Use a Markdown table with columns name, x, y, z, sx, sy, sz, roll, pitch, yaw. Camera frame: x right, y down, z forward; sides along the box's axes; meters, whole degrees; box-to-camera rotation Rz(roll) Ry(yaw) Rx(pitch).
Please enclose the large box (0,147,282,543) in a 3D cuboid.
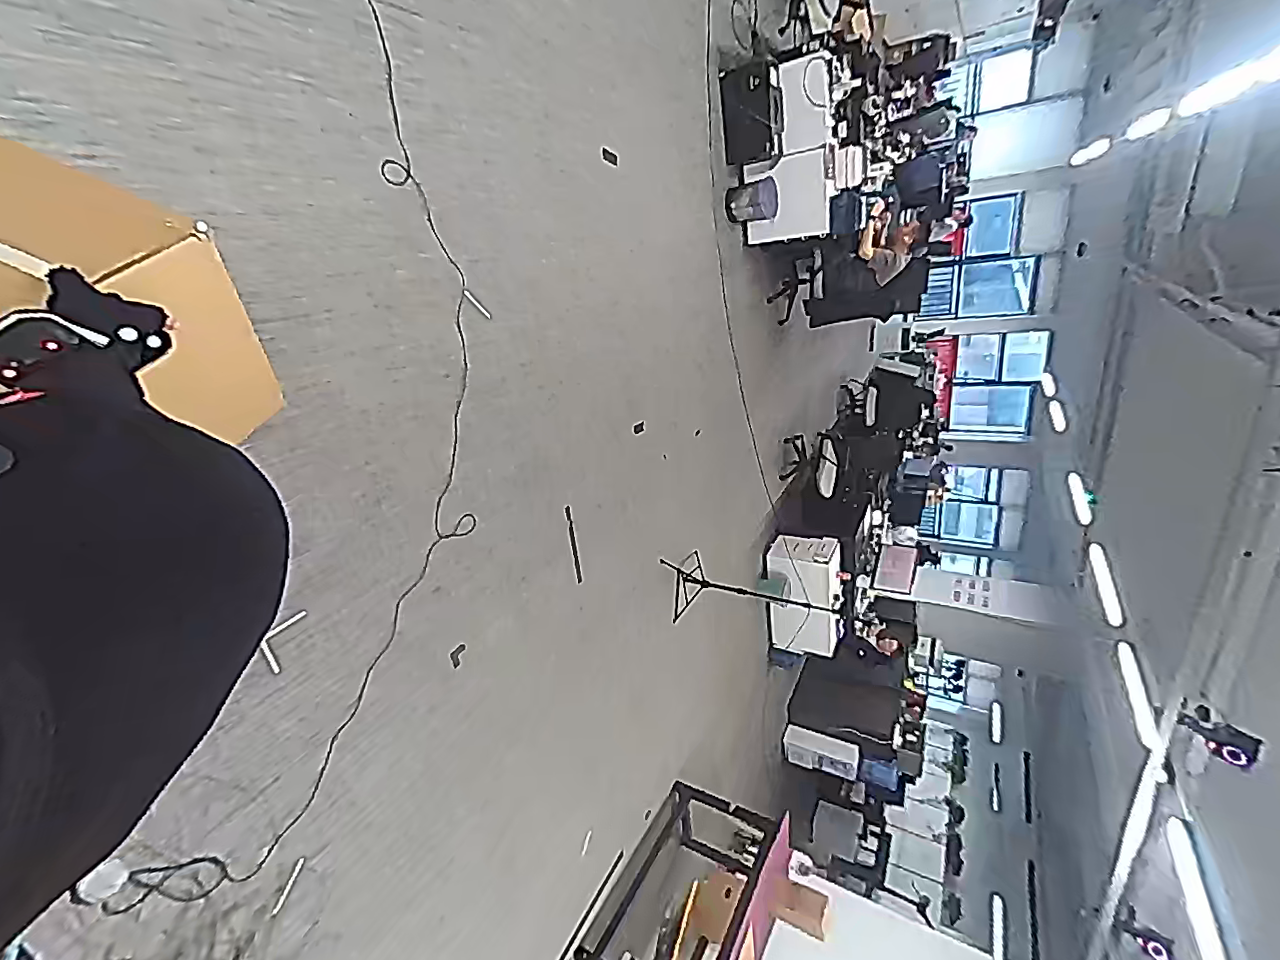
| name | x | y | z | sx | sy | sz | roll | pitch | yaw |
| --- | --- | --- | --- | --- | --- | --- | --- | --- | --- |
| large box | -0.791 | -0.182 | 0.701 | 0.320 | 0.408 | 0.320 | 112 | 4 | -54 |
